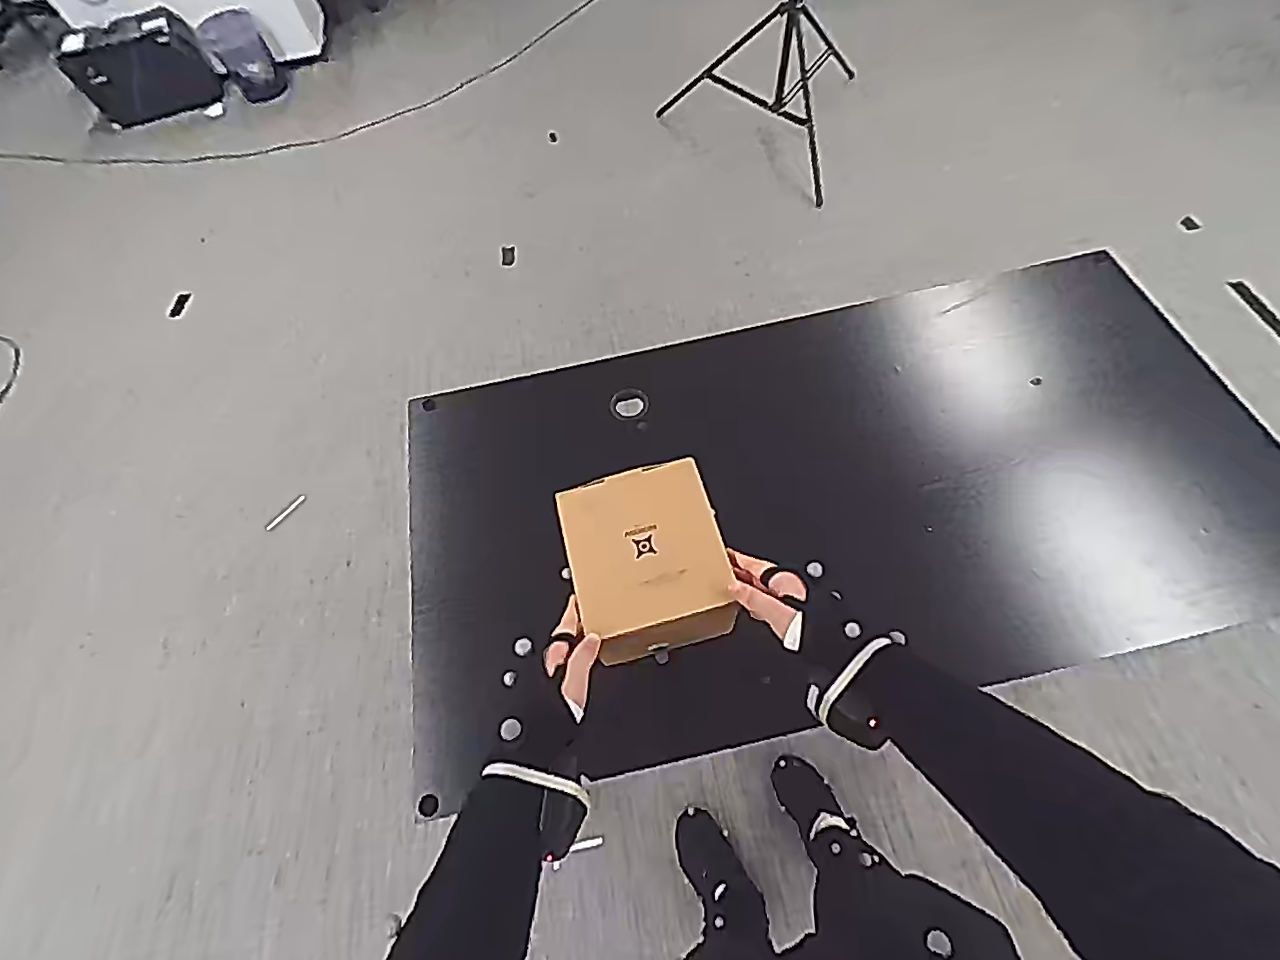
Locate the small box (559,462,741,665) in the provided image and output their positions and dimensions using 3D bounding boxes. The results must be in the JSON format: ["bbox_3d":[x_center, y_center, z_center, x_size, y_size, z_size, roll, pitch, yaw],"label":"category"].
[{"bbox_3d":[0.011,0.108,0.659,0.168,0.176,0.179,-16,64,-2],"label":"small box"}]
